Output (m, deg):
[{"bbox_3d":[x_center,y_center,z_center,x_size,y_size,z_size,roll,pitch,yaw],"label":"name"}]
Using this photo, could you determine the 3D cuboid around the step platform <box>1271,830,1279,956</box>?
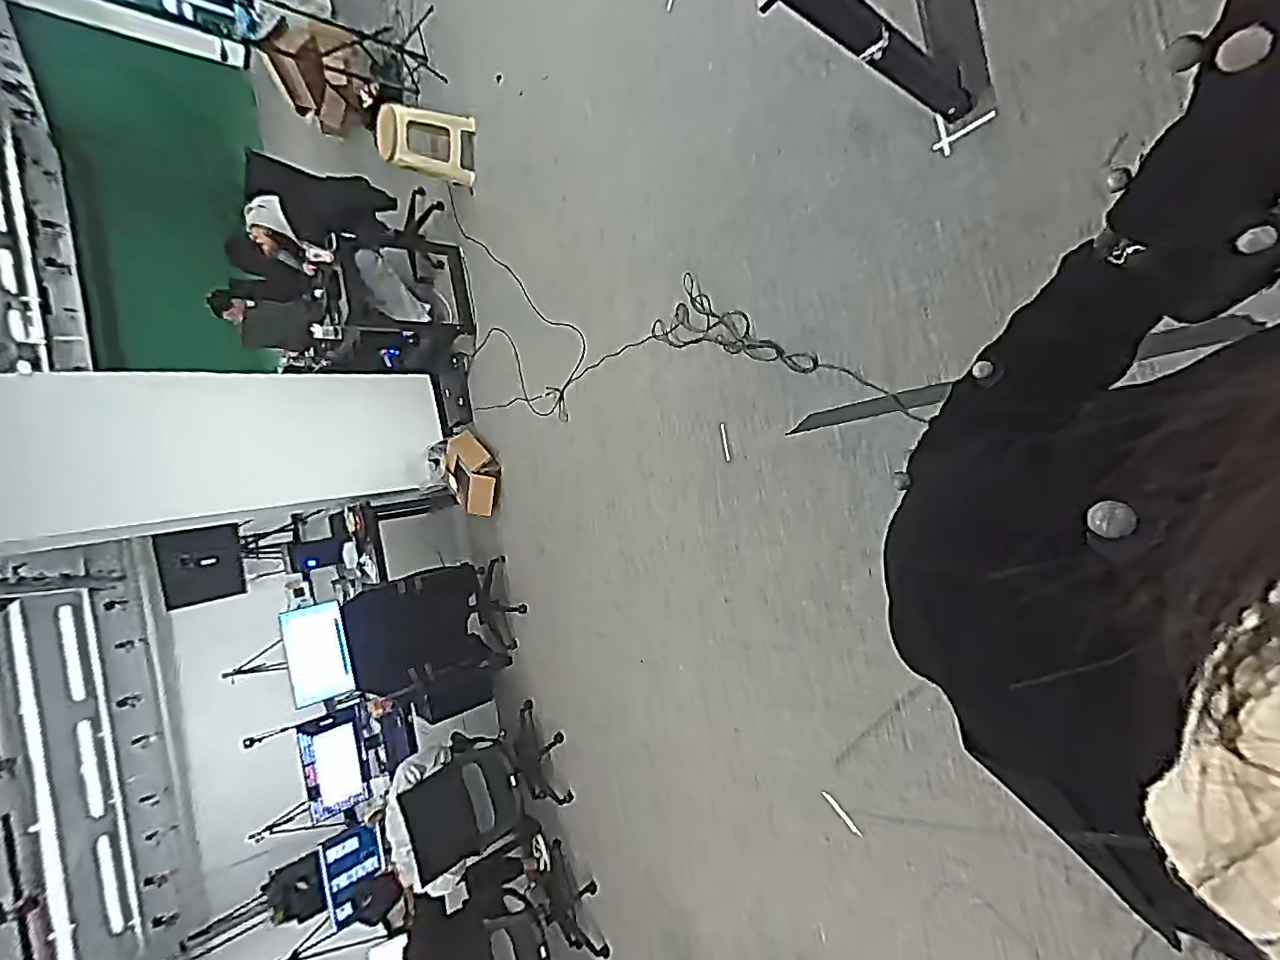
[{"bbox_3d":[1.372,0.772,0.724,0.684,0.204,0.286,-1,96,50],"label":"step platform"}]
